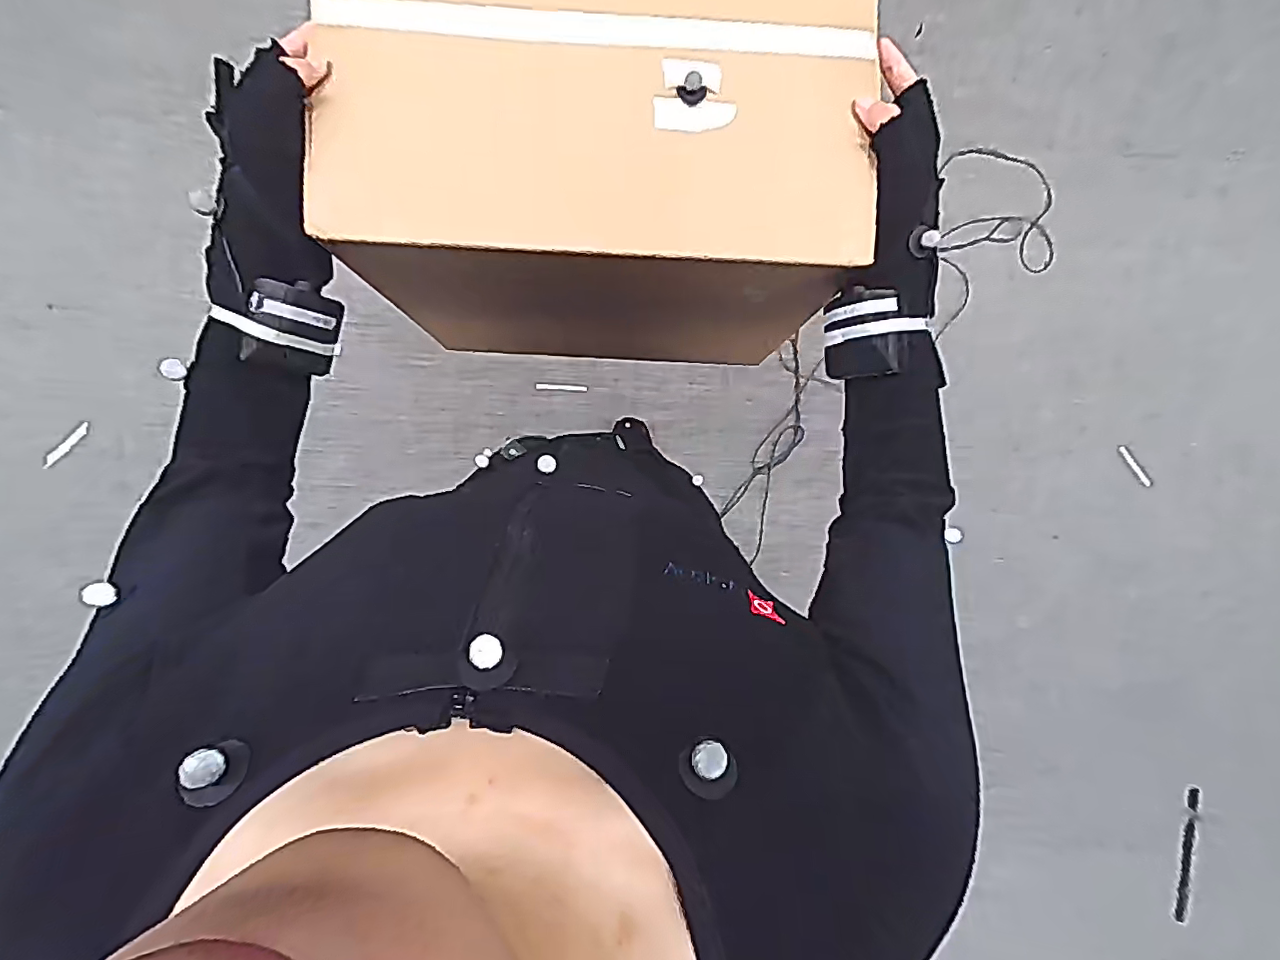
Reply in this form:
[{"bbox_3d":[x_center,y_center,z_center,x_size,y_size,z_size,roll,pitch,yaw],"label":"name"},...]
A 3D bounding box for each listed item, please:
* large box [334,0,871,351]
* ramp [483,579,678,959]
[{"bbox_3d":[-0.030,-0.325,0.553,0.408,0.320,0.320,2,89,-2],"label":"large box"},{"bbox_3d":[-0.149,0.771,1.432,0.509,0.206,0.991,0,92,1],"label":"ramp"}]
